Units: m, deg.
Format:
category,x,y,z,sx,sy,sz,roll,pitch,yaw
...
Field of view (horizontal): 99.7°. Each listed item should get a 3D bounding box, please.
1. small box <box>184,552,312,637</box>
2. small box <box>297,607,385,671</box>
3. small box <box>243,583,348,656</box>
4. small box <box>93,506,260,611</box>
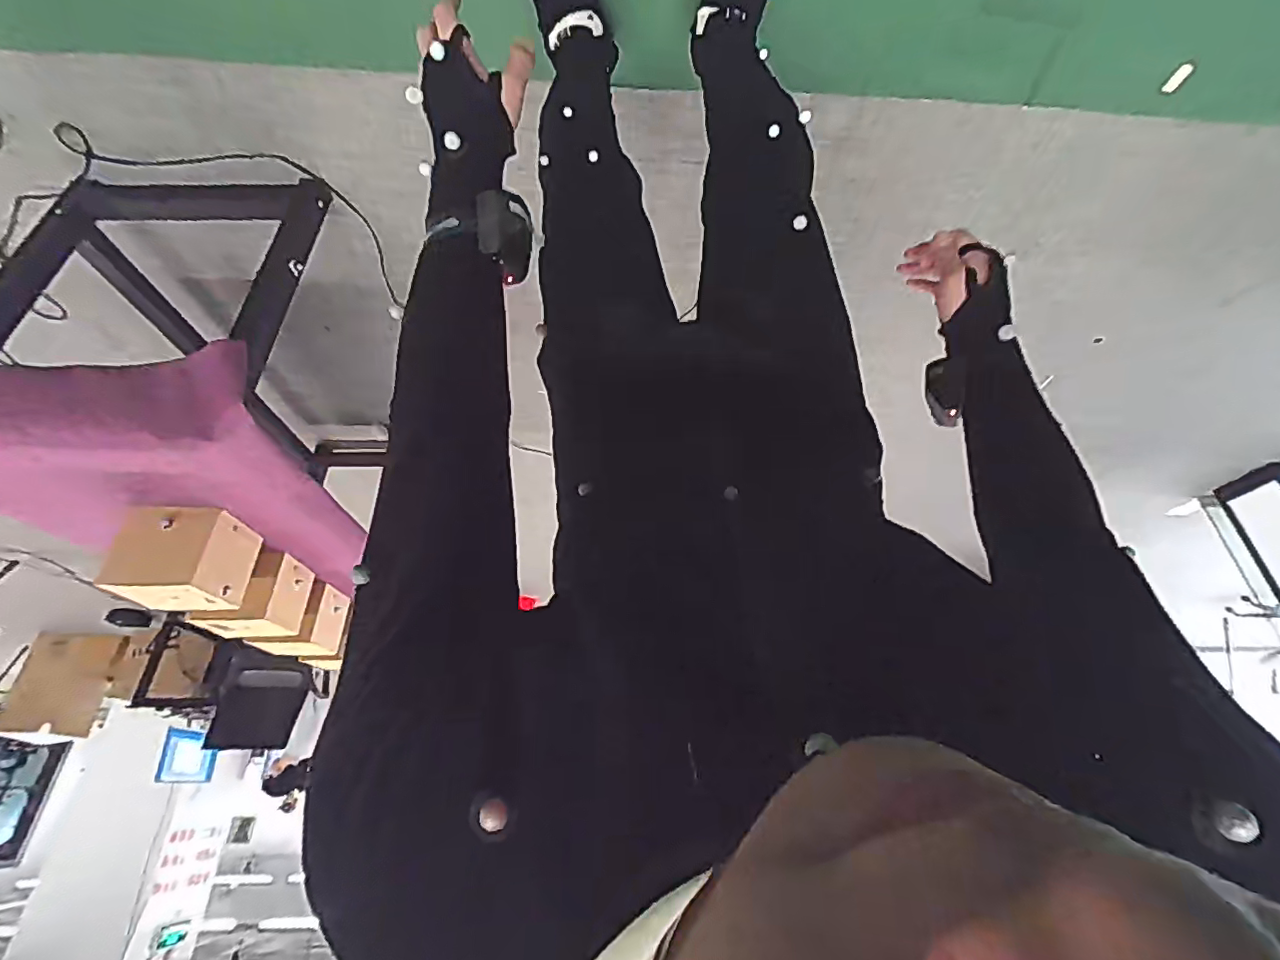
category,x,y,z,sx,sy,sz,roll,pitch,yaw
small box,-0.950,0.281,1.330,0.179,0.176,0.168,1,151,-5
small box,-0.959,0.517,1.753,0.179,0.176,0.168,-2,151,1
small box,-0.967,0.396,1.535,0.179,0.176,0.168,1,151,-3
small box,-0.938,0.162,1.116,0.179,0.176,0.168,2,152,-4
